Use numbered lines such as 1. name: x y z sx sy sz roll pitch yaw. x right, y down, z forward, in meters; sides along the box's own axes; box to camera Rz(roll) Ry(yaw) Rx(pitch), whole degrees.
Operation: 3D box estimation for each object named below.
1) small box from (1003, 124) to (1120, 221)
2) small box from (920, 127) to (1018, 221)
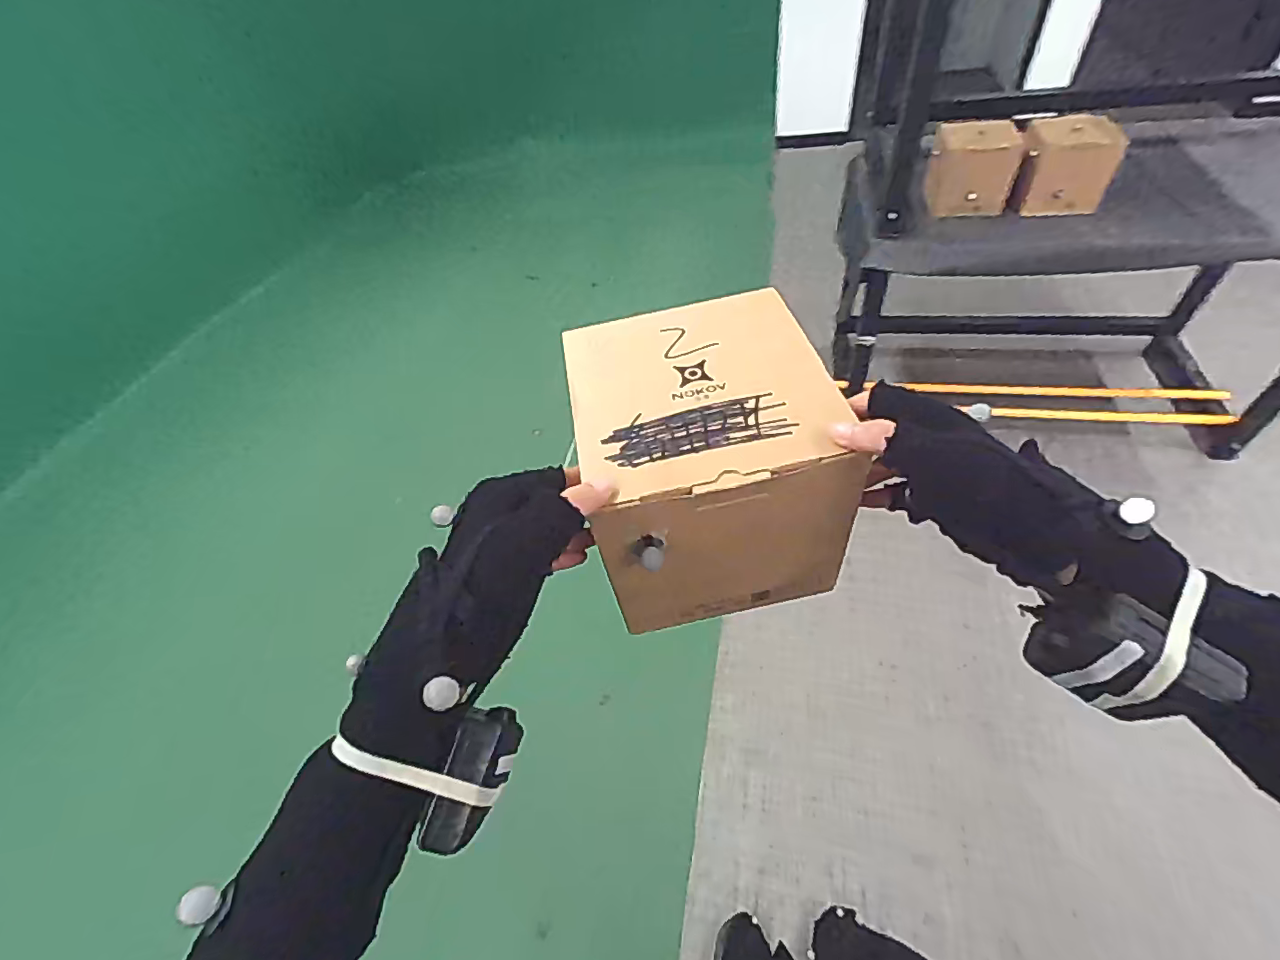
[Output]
1. small box: 1.055 -0.780 1.375 0.168 0.176 0.179 4 50 13
2. small box: 0.854 -0.802 1.423 0.168 0.176 0.179 4 50 13
